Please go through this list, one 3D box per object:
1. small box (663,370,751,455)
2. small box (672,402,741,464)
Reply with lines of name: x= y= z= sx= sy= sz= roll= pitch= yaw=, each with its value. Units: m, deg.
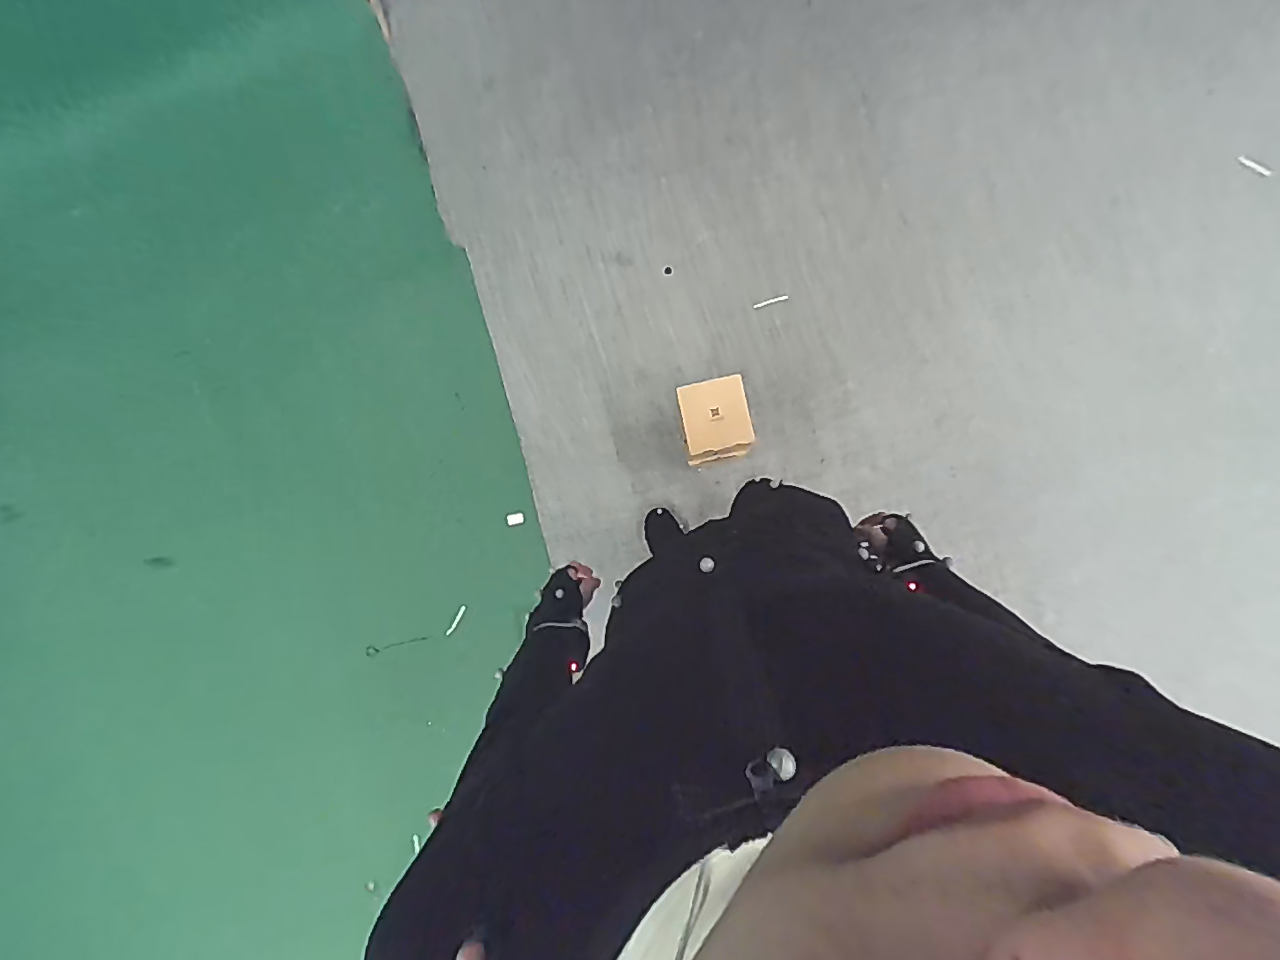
small box: x=0.173 y=-0.168 z=1.411 sx=0.179 sy=0.176 sz=0.168 roll=20 pitch=91 yaw=6
small box: x=0.190 y=-0.143 z=1.564 sx=0.168 sy=0.176 sz=0.179 roll=-11 pitch=86 yaw=4
